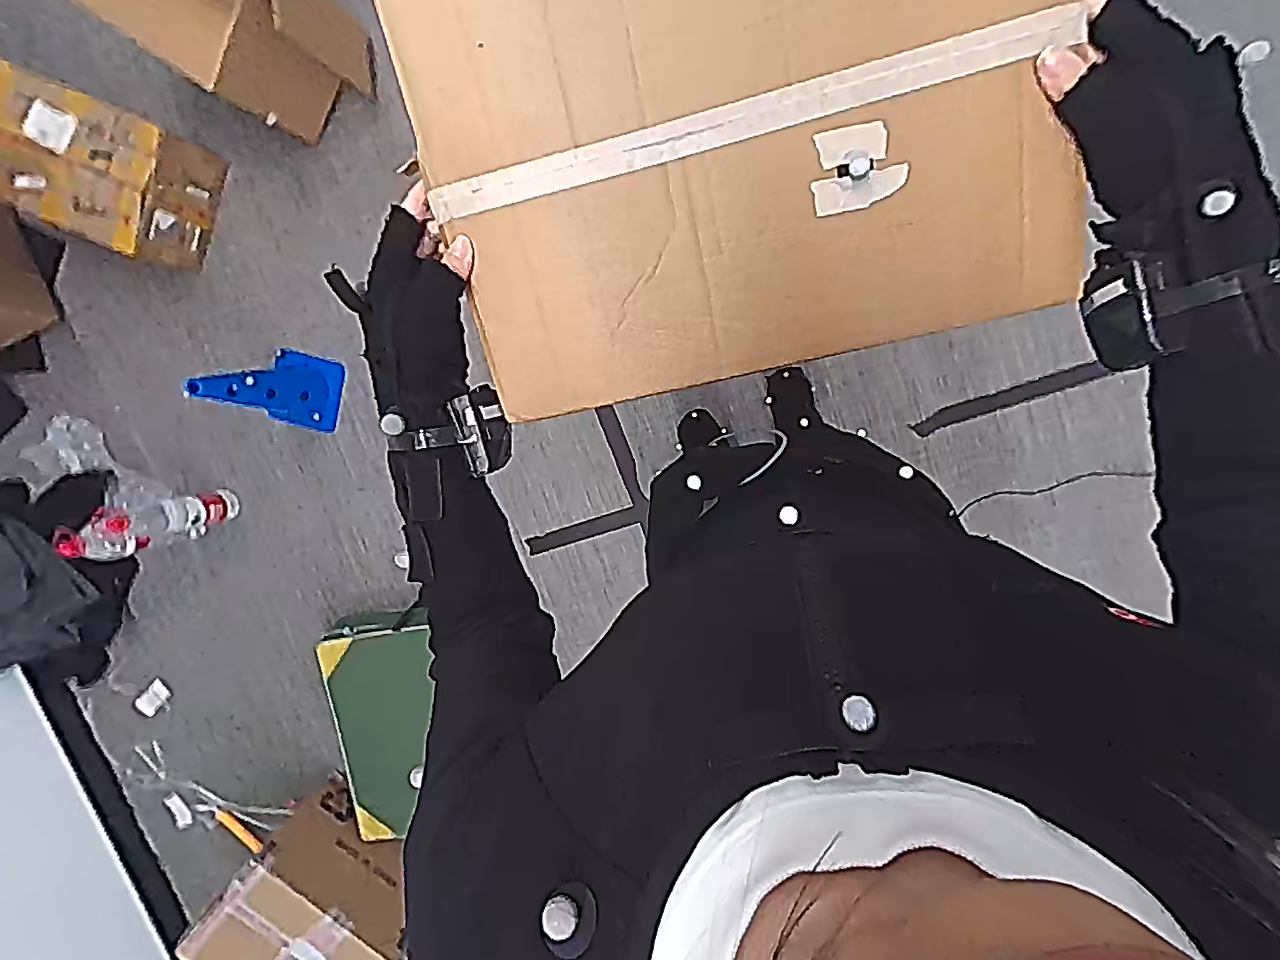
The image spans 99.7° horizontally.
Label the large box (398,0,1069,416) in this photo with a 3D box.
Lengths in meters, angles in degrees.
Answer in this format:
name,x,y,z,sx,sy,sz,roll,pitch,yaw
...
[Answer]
name,x,y,z,sx,sy,sz,roll,pitch,yaw
large box,0.073,-0.276,0.494,0.408,0.320,0.320,-12,108,7
